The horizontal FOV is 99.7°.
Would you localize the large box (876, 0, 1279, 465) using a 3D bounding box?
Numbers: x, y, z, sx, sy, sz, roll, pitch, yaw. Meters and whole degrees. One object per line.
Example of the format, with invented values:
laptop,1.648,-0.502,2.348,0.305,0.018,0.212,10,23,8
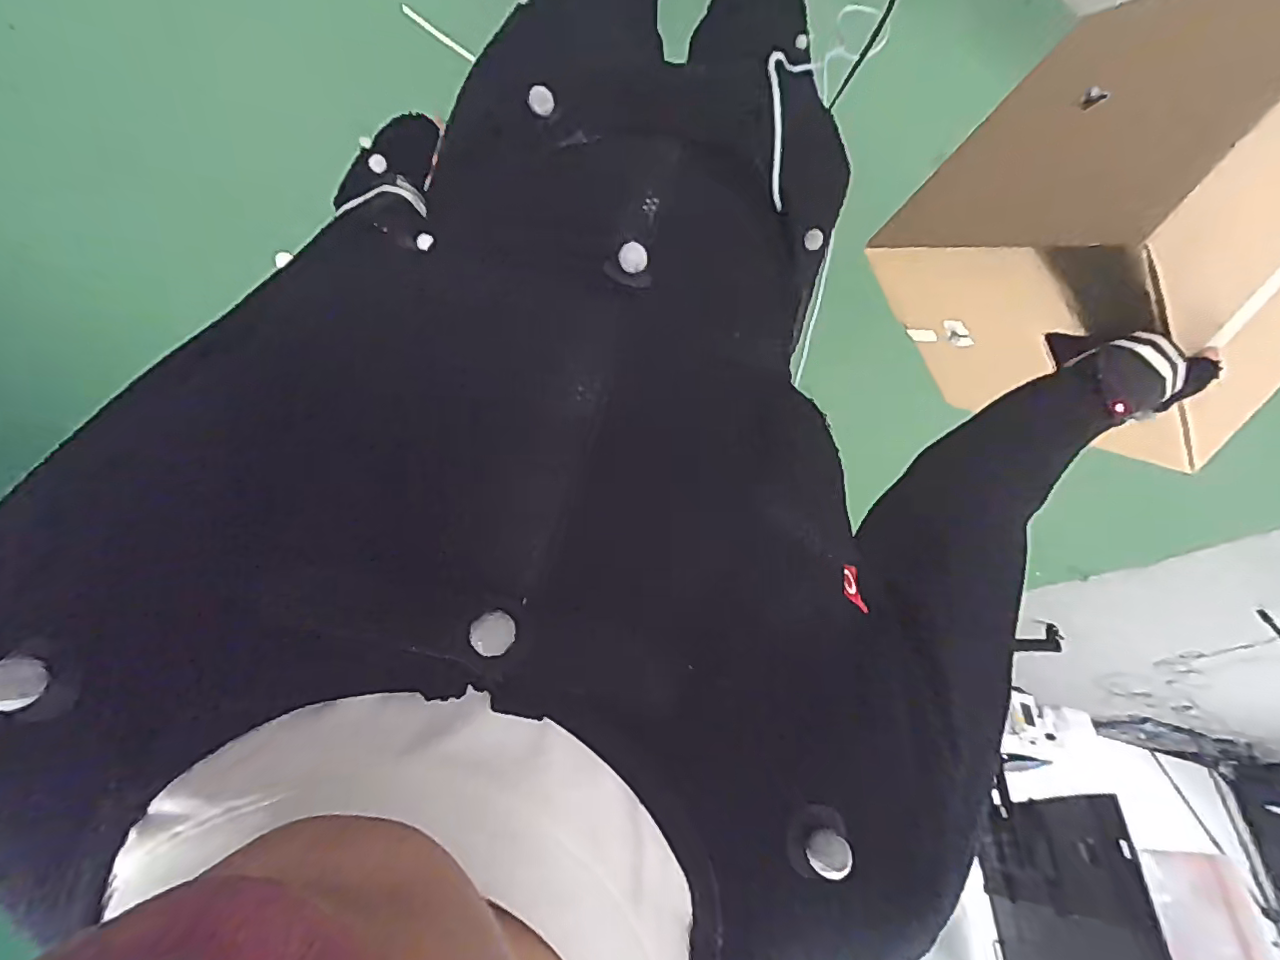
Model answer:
large box,0.574,-0.297,0.629,0.408,0.320,0.320,-47,121,2
